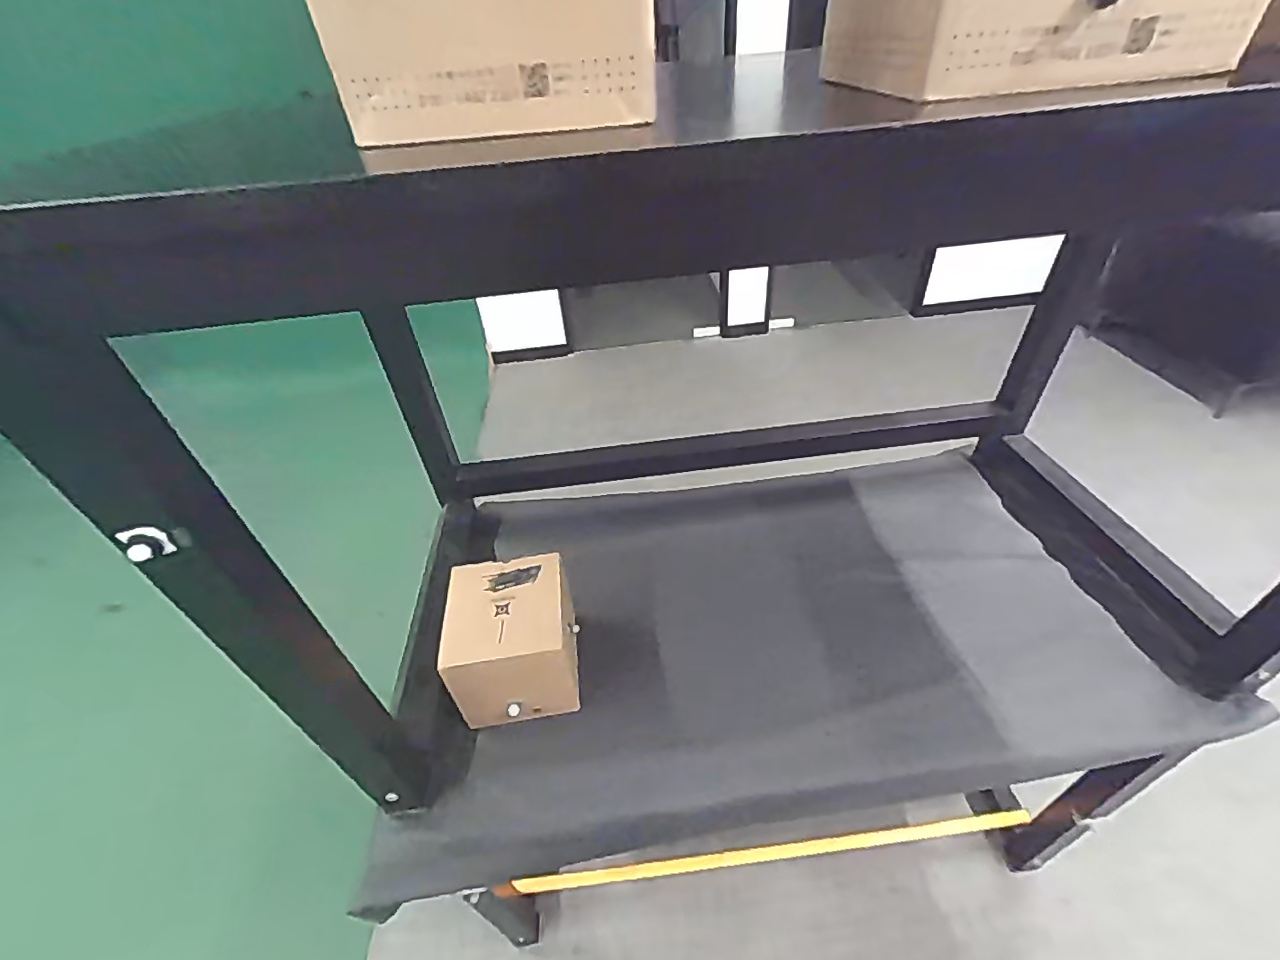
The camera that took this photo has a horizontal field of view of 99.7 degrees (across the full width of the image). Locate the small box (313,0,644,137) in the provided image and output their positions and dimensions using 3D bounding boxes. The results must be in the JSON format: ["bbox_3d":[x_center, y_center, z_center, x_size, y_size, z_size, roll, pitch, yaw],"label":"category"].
[{"bbox_3d":[-0.086,-0.308,0.312,0.168,0.176,0.179,-4,39,1],"label":"small box"}]

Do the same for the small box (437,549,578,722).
[{"bbox_3d":[-0.188,0.232,0.815,0.168,0.176,0.179,-8,40,-4],"label":"small box"}]
